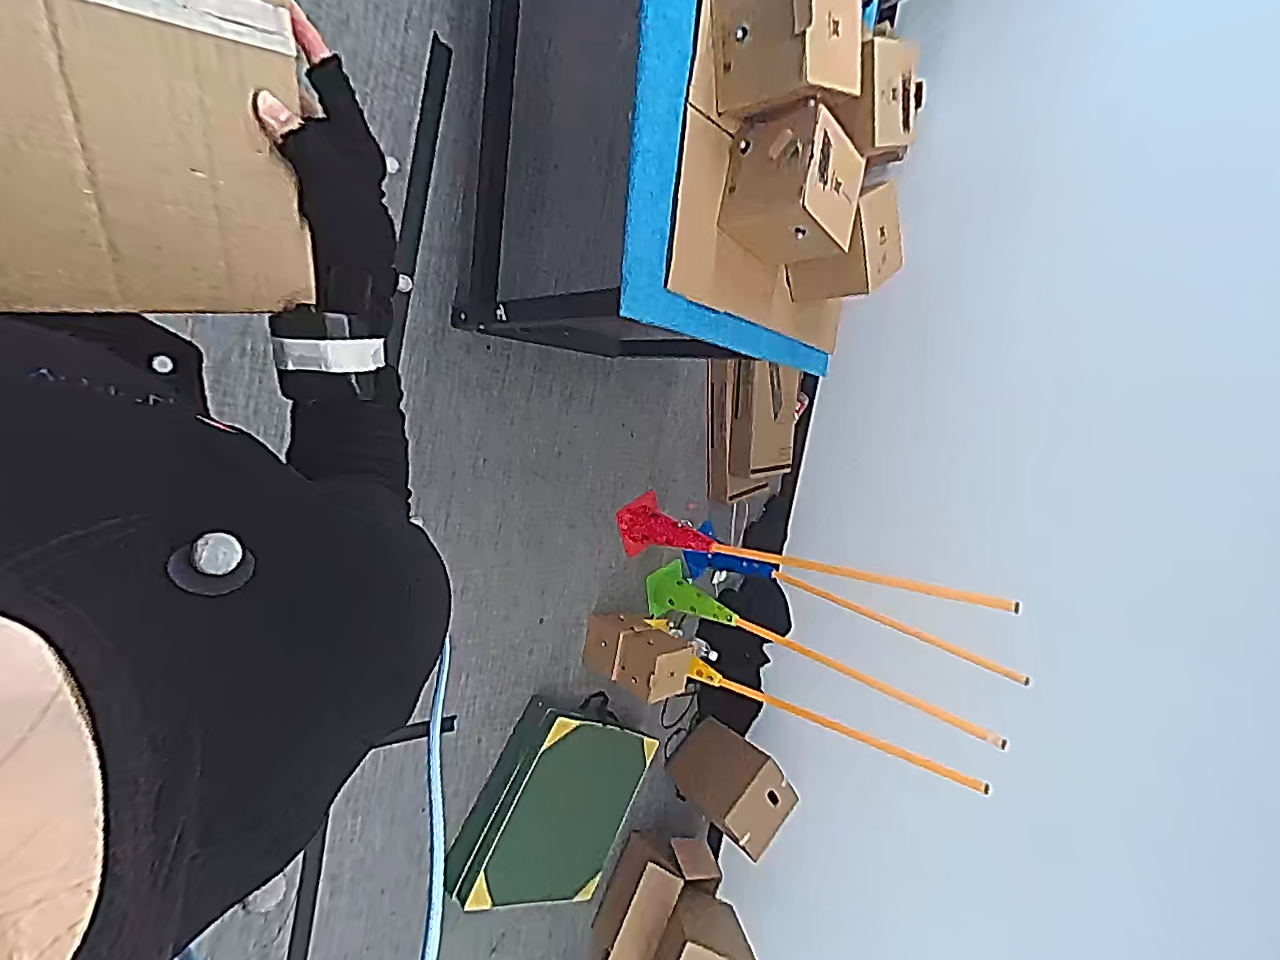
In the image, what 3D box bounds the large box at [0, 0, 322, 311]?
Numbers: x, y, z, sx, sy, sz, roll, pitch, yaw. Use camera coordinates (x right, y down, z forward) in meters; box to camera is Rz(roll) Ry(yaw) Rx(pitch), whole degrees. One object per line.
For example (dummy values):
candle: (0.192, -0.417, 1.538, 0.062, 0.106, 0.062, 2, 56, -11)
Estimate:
large box: (-0.447, -0.286, 0.281, 0.408, 0.320, 0.320, -16, 131, -40)
